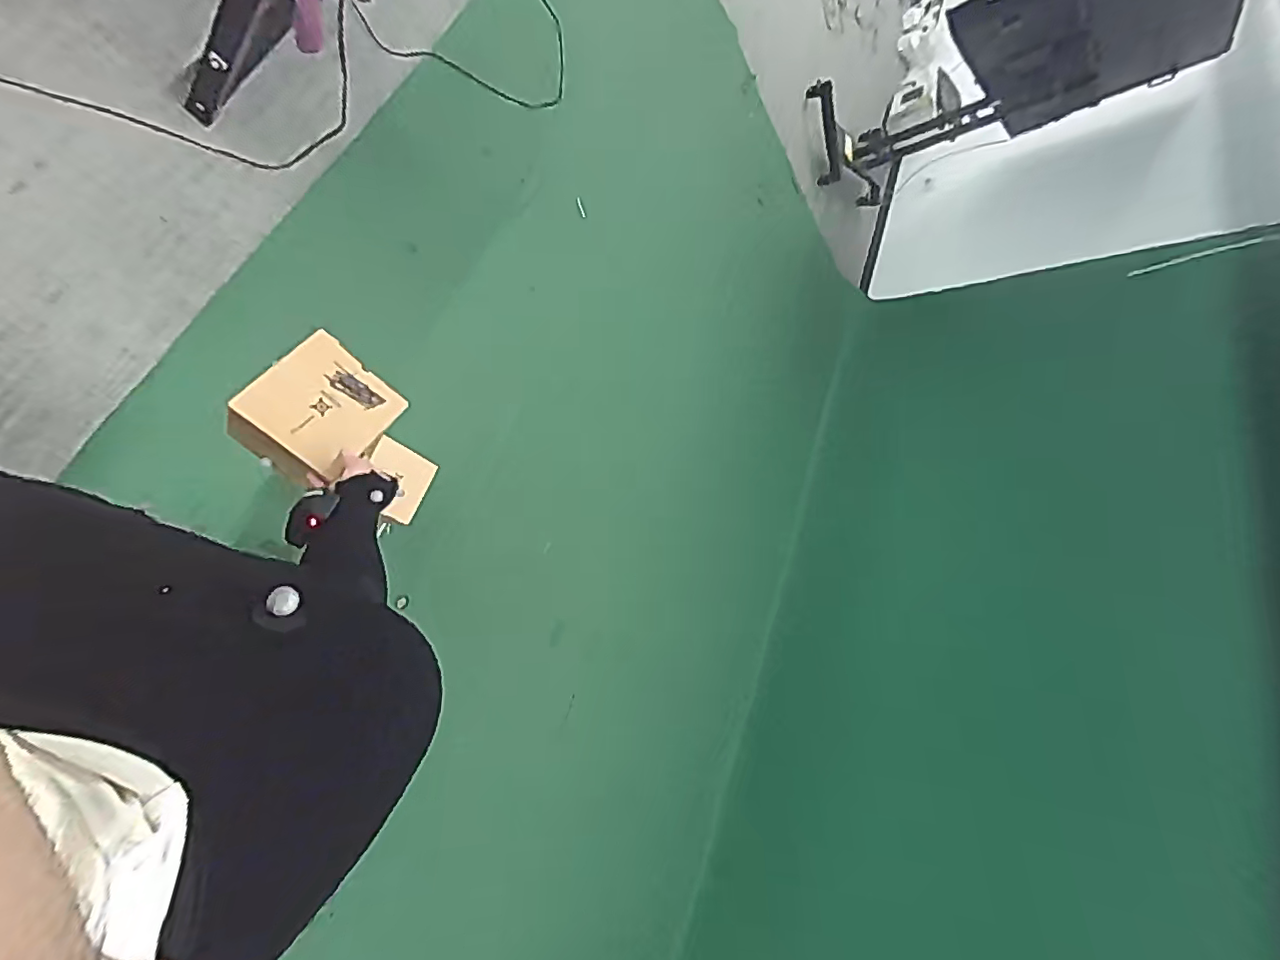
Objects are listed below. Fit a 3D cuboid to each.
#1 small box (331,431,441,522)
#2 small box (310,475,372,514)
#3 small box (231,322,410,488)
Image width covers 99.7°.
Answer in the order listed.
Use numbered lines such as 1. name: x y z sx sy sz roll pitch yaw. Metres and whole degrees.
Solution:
1. small box: -0.659 -0.009 1.397 0.168 0.176 0.179 40 63 -41
2. small box: -0.779 -0.007 1.510 0.179 0.176 0.168 40 62 -41
3. small box: -0.507 -0.110 0.858 0.168 0.176 0.179 44 58 -21
